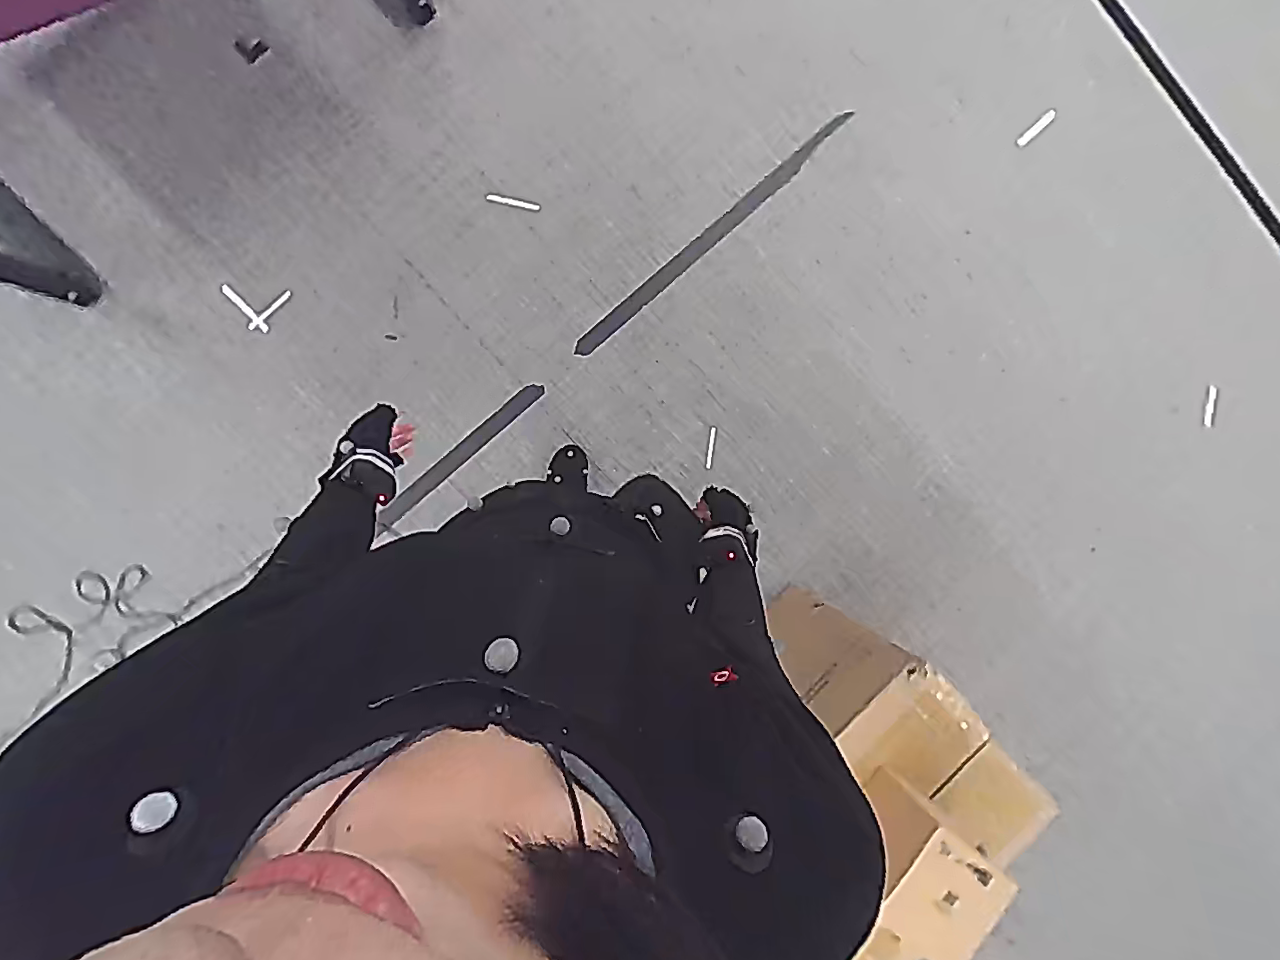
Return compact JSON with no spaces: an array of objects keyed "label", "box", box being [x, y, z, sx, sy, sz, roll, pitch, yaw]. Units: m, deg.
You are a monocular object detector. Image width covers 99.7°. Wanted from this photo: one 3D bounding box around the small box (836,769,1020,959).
[{"label":"small box","box":[0.447,0.623,0.877,0.168,0.176,0.179,39,89,-4]}]
